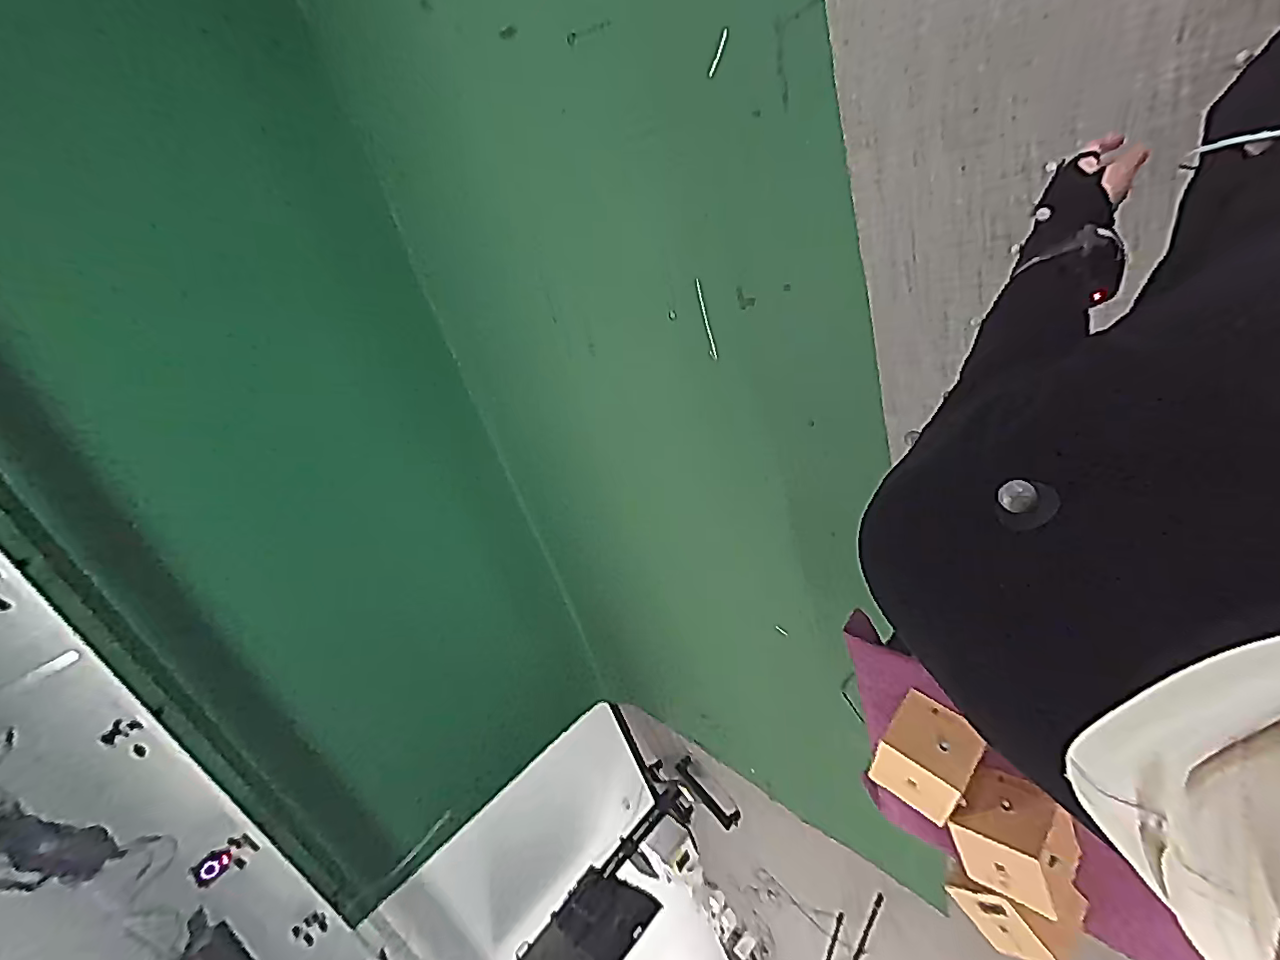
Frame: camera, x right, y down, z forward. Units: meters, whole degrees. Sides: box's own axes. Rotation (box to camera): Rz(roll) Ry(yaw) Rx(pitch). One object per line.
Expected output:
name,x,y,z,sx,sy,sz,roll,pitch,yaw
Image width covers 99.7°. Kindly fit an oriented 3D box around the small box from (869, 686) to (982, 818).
small box,0.641,0.603,1.215,0.168,0.176,0.179,26,140,35
